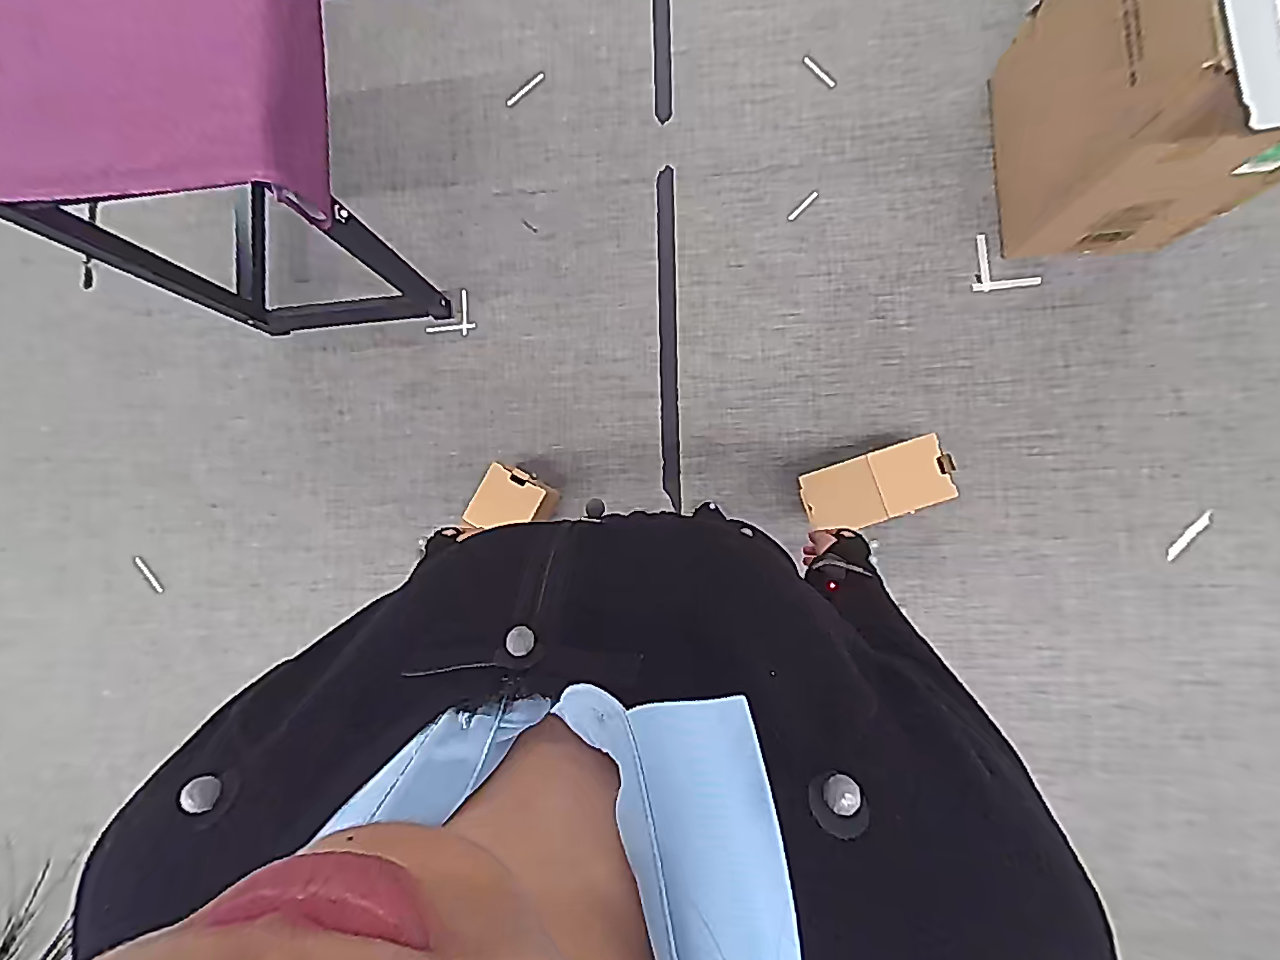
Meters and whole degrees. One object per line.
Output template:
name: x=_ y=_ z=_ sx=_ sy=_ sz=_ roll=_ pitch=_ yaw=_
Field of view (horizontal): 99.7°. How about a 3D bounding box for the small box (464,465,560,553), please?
small box: x=-0.339 y=0.081 z=1.468 sx=0.168 sy=0.176 sz=0.179 roll=29 pitch=88 yaw=7
